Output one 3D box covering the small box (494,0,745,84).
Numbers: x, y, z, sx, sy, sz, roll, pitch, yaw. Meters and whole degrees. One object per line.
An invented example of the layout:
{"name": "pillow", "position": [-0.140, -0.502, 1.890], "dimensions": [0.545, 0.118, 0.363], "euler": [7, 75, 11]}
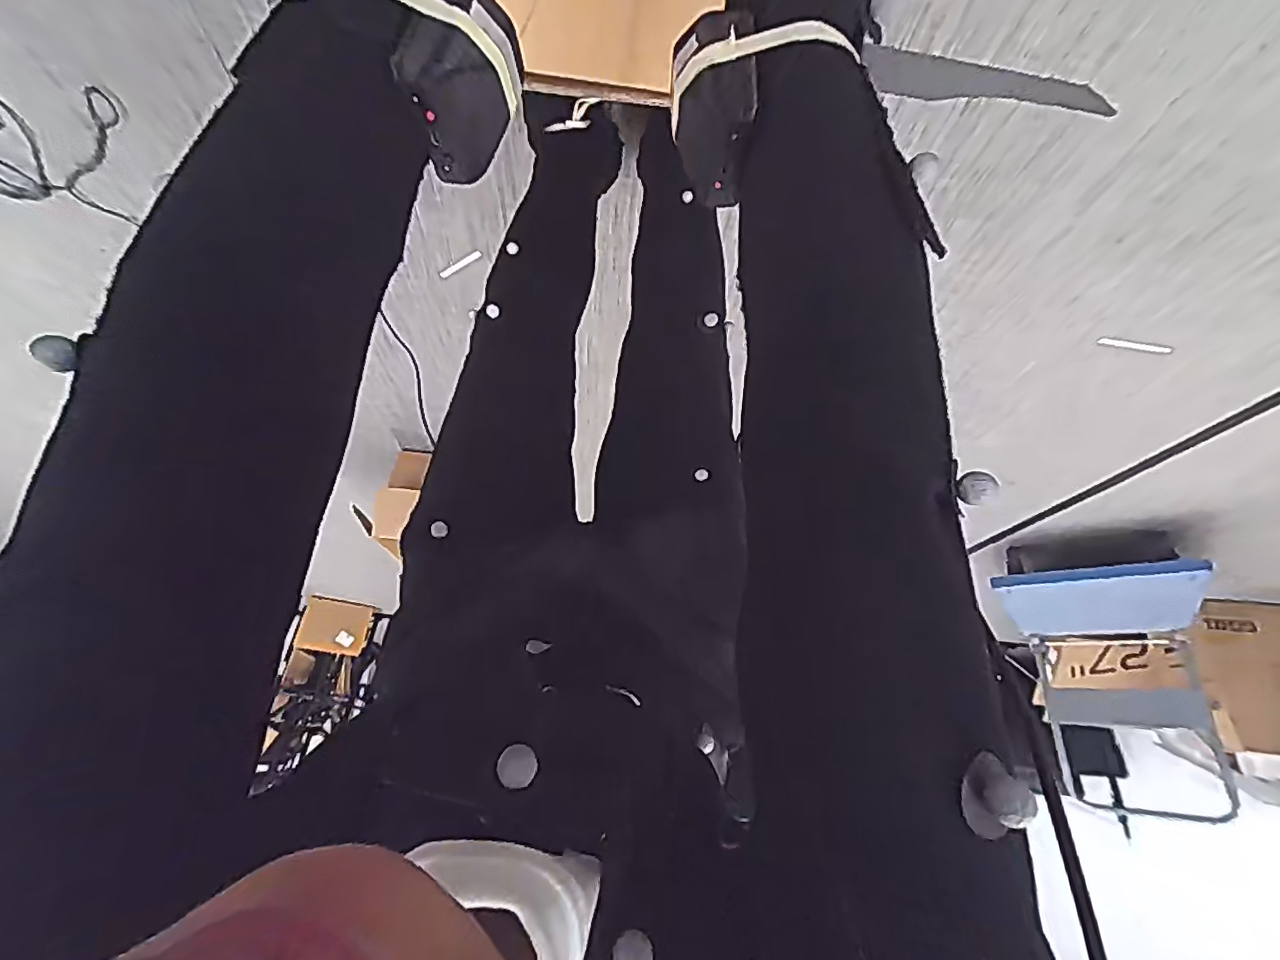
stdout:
{"name": "small box", "position": [-0.005, -0.390, 0.341], "dimensions": [0.168, 0.176, 0.179], "euler": [8, 164, -1]}
